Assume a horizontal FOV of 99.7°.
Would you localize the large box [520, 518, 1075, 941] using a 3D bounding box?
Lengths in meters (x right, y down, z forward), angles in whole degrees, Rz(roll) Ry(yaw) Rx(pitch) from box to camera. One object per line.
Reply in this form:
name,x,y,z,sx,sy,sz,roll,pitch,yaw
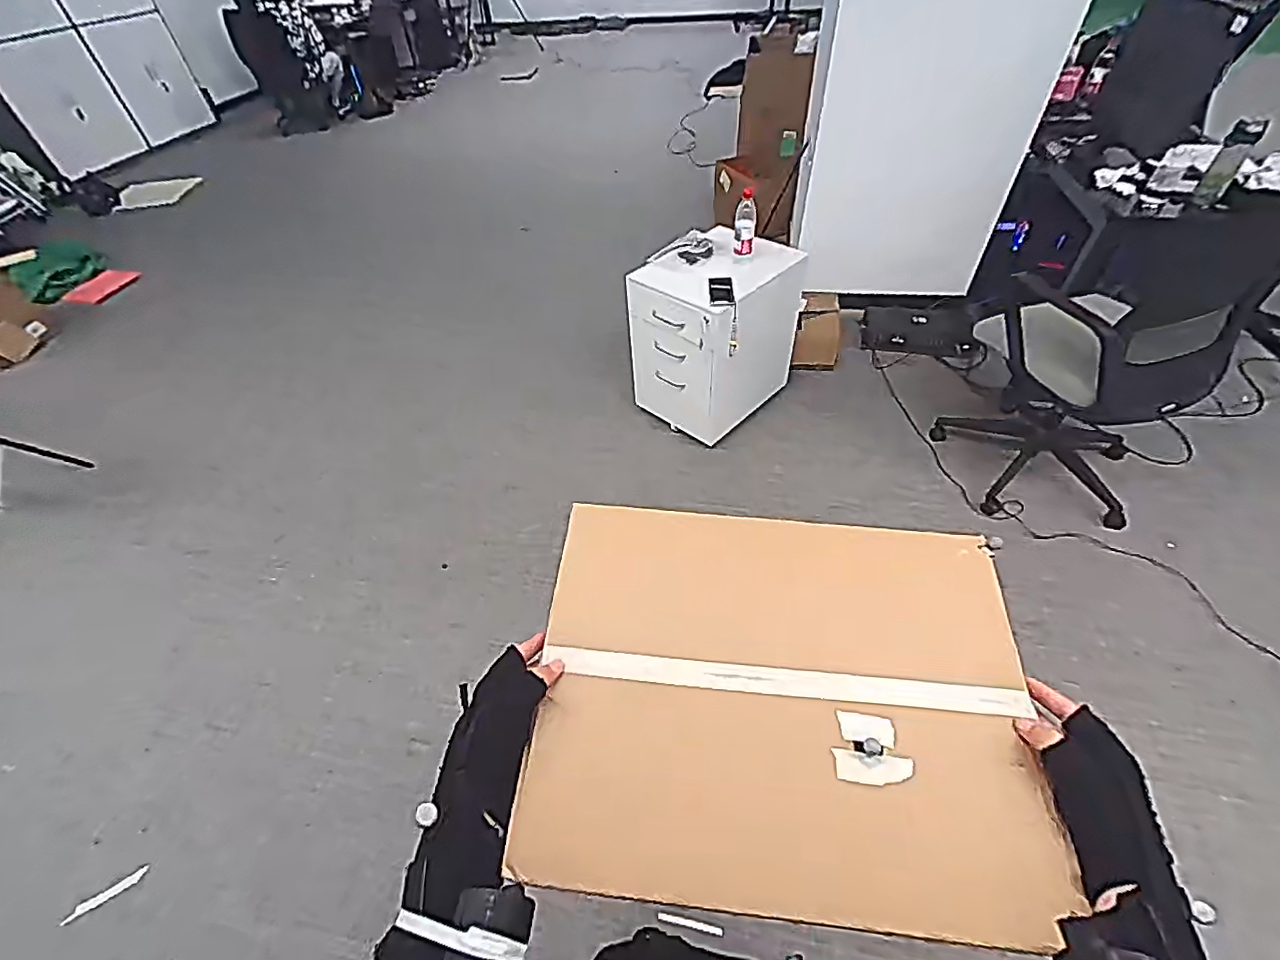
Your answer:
large box,0.120,0.260,0.590,0.408,0.320,0.320,5,58,4
